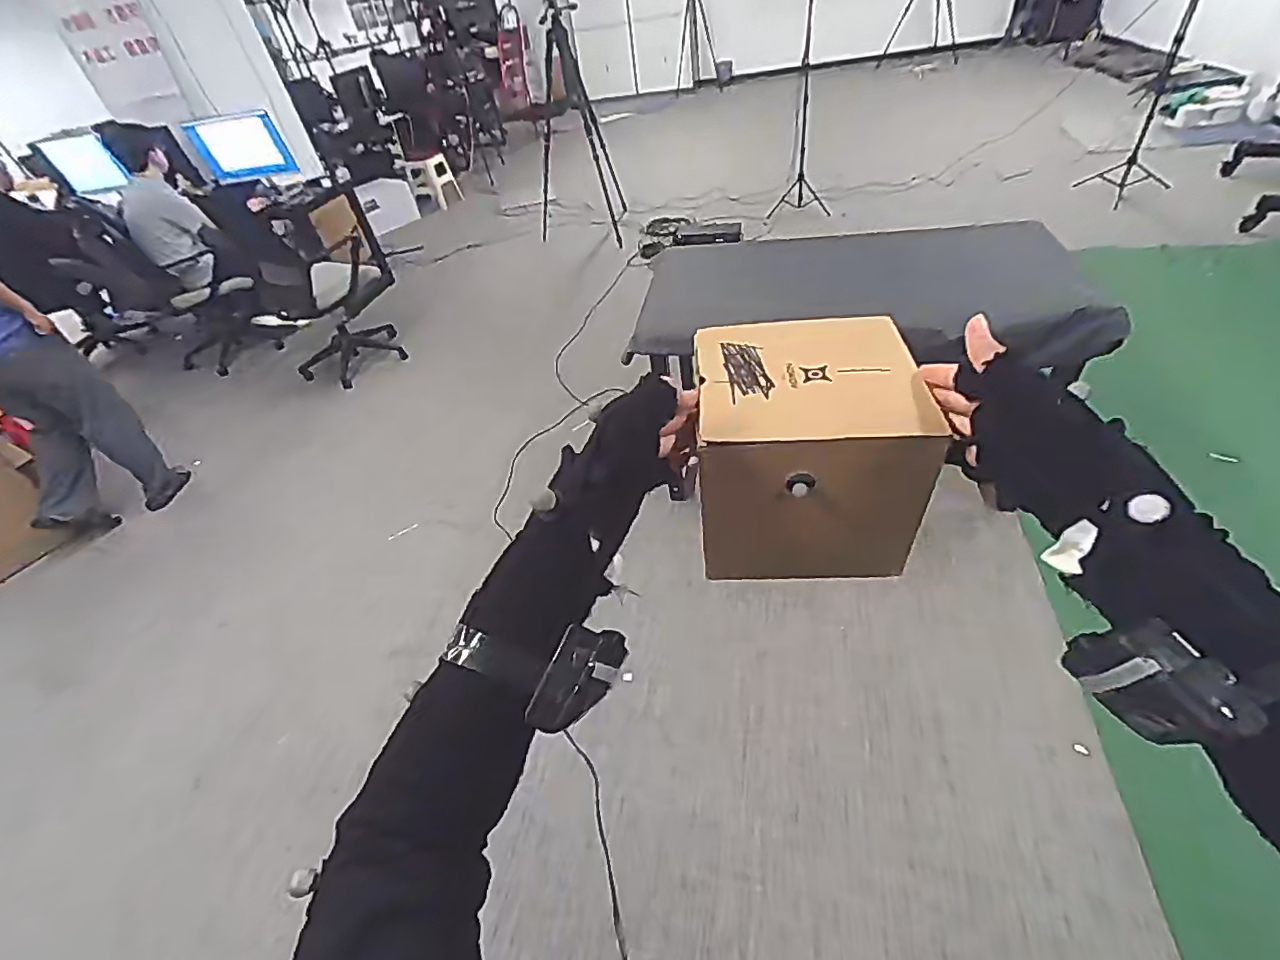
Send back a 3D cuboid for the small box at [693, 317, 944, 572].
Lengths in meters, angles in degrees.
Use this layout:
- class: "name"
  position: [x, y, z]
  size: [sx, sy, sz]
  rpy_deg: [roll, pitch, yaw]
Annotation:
- class: "small box"
  position: [0.141, -0.029, 0.494]
  size: [0.179, 0.176, 0.168]
  rpy_deg: [-1, 45, 7]
